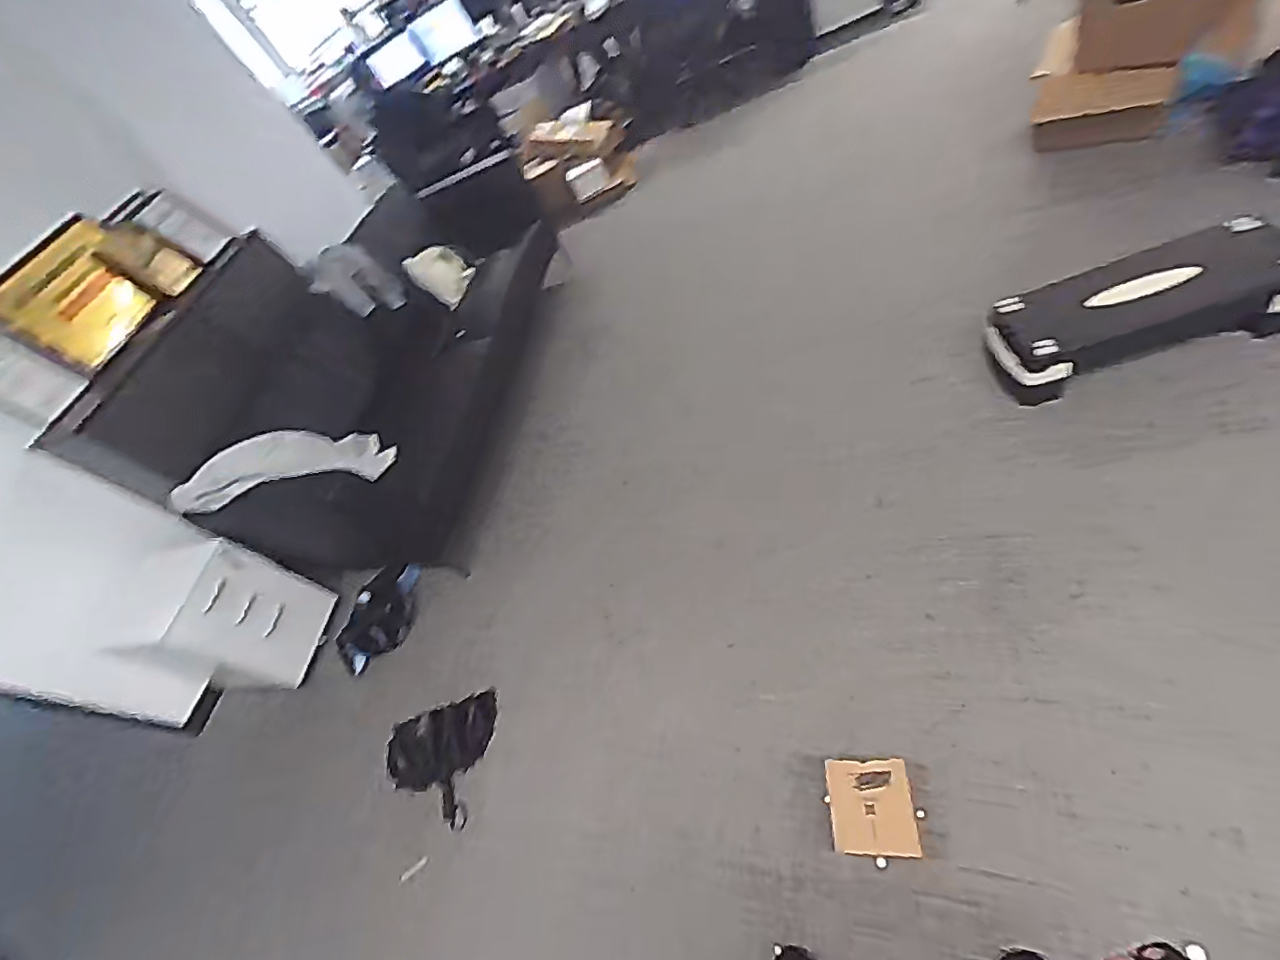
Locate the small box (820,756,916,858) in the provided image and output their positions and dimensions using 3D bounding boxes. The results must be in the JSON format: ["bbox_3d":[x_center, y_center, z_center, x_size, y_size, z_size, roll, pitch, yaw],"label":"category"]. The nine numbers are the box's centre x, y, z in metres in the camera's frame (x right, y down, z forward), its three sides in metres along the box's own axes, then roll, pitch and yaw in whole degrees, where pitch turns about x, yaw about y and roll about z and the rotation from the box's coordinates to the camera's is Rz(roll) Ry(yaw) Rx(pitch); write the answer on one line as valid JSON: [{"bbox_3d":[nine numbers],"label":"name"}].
[{"bbox_3d":[0.504,0.725,1.199,0.168,0.176,0.179,-12,52,22],"label":"small box"}]
